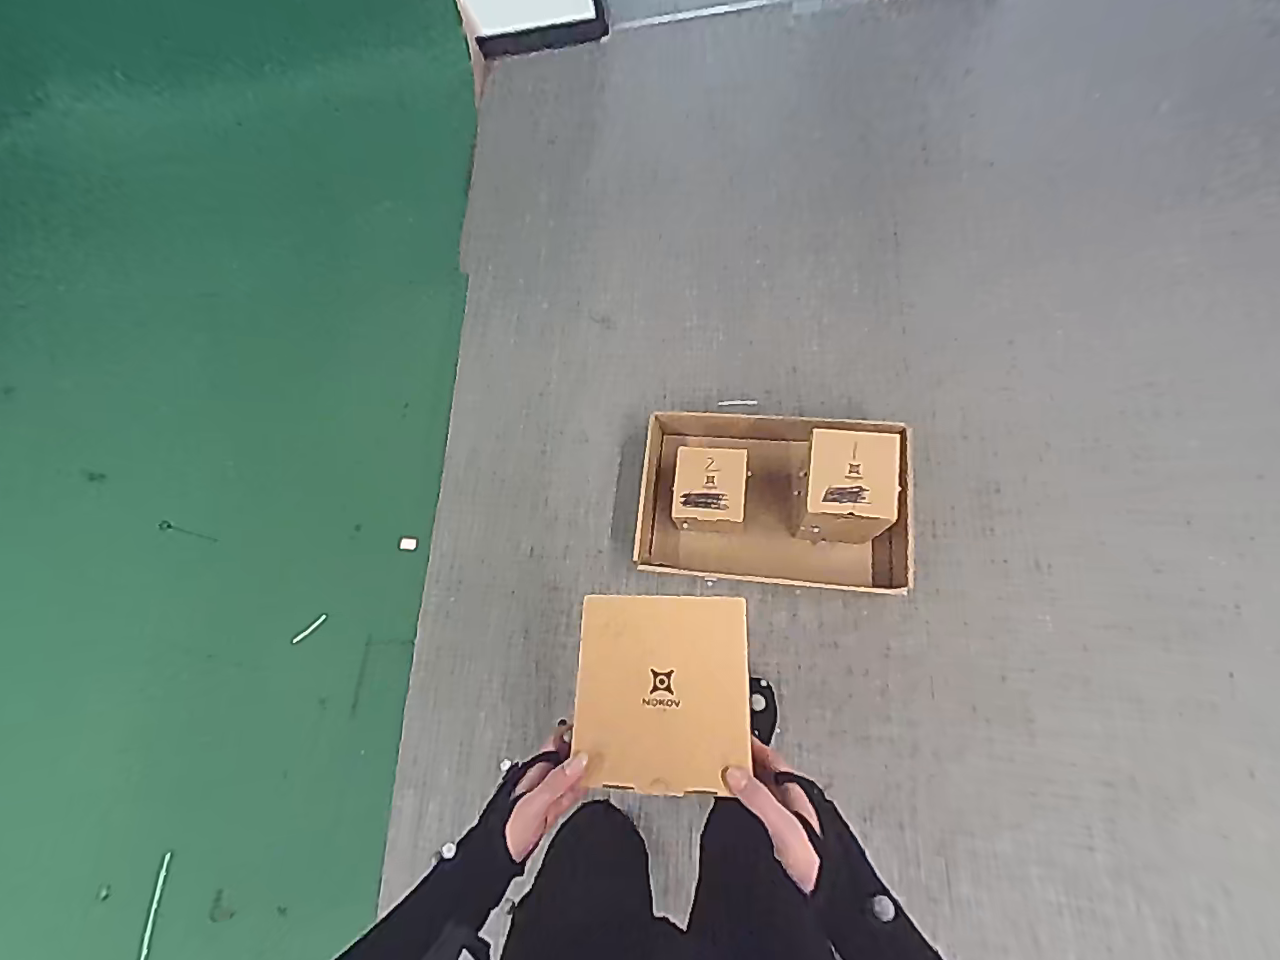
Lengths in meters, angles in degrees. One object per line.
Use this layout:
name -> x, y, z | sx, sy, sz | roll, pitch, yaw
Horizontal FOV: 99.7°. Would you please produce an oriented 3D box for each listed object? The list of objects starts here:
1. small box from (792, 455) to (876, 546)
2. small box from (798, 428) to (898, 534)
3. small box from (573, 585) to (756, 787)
small box -> 0.454, 0.050, 1.277 | 0.168, 0.176, 0.179 | 4, 76, 12
small box -> 0.425, 0.008, 1.122 | 0.168, 0.176, 0.179 | 6, 75, 13
small box -> 0.030, 0.220, 0.582 | 0.168, 0.176, 0.179 | 0, 66, 6
